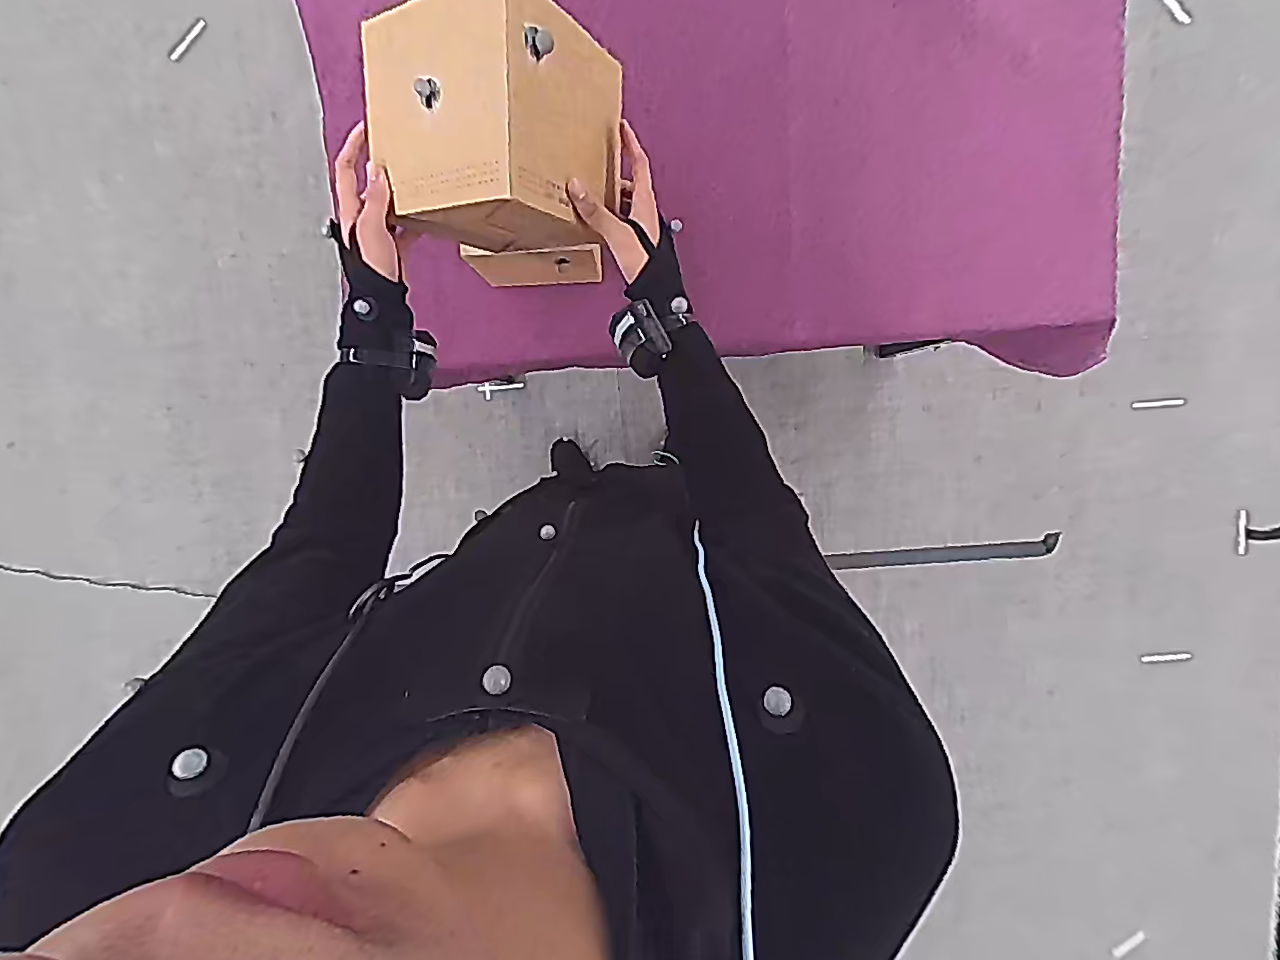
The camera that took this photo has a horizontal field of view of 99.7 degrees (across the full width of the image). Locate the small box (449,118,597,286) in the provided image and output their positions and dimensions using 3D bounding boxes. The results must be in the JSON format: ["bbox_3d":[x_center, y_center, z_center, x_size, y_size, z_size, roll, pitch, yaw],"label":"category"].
[{"bbox_3d":[-0.152,-0.380,0.765,0.179,0.176,0.168,-3,96,0],"label":"small box"}]
